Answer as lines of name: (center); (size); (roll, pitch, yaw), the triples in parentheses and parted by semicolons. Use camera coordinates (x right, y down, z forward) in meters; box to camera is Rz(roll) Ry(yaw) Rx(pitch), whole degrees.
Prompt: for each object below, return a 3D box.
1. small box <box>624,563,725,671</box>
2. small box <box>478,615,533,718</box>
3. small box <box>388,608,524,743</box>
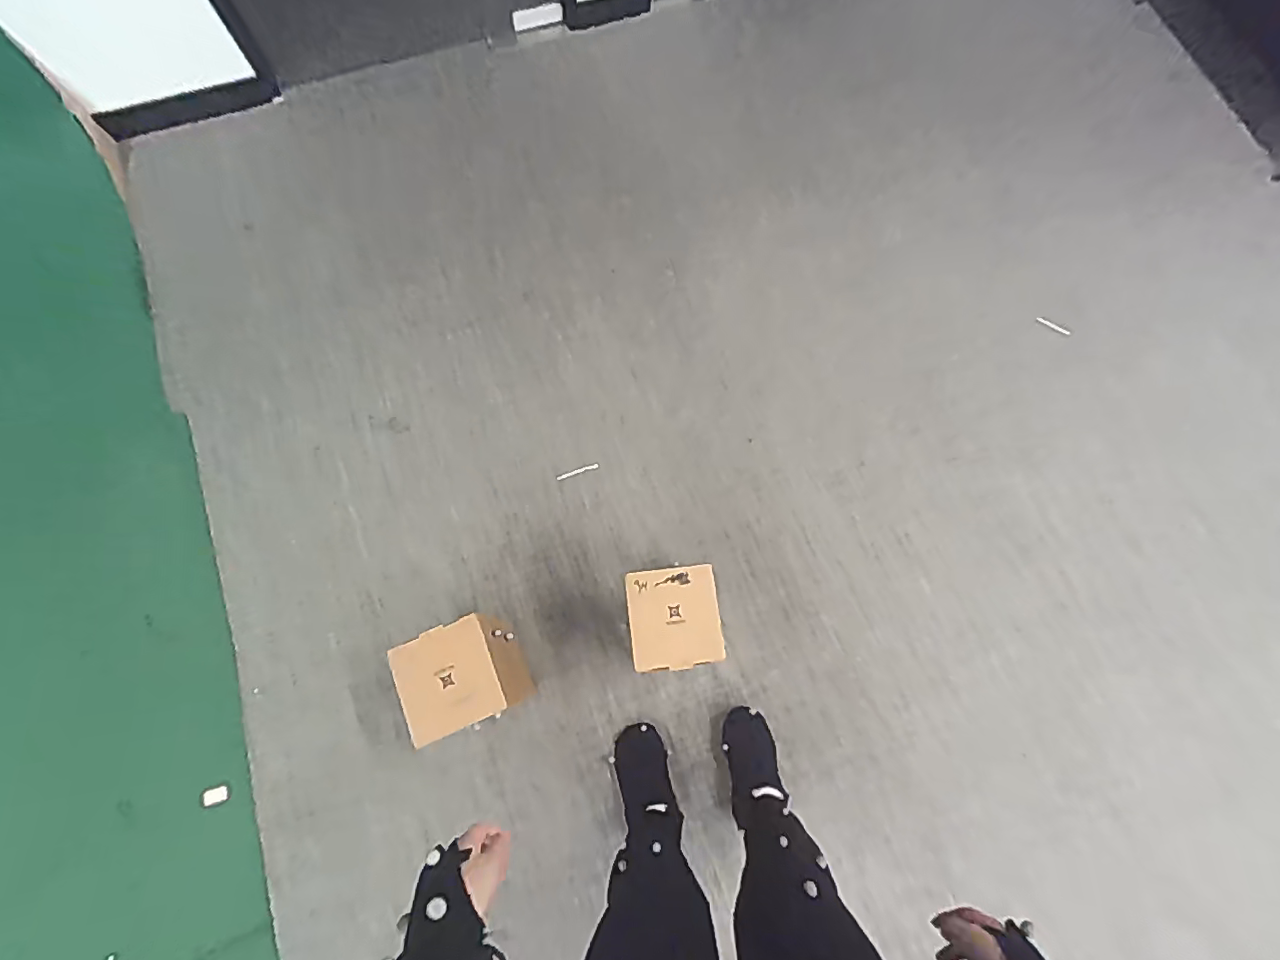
small box: (0.059, 0.262, 1.043); (0.168, 0.176, 0.179); (-5, 75, -4)
small box: (-0.342, 0.405, 1.154); (0.168, 0.176, 0.179); (-23, 76, -9)
small box: (-0.331, 0.354, 1.001); (0.168, 0.176, 0.179); (-23, 77, -7)
